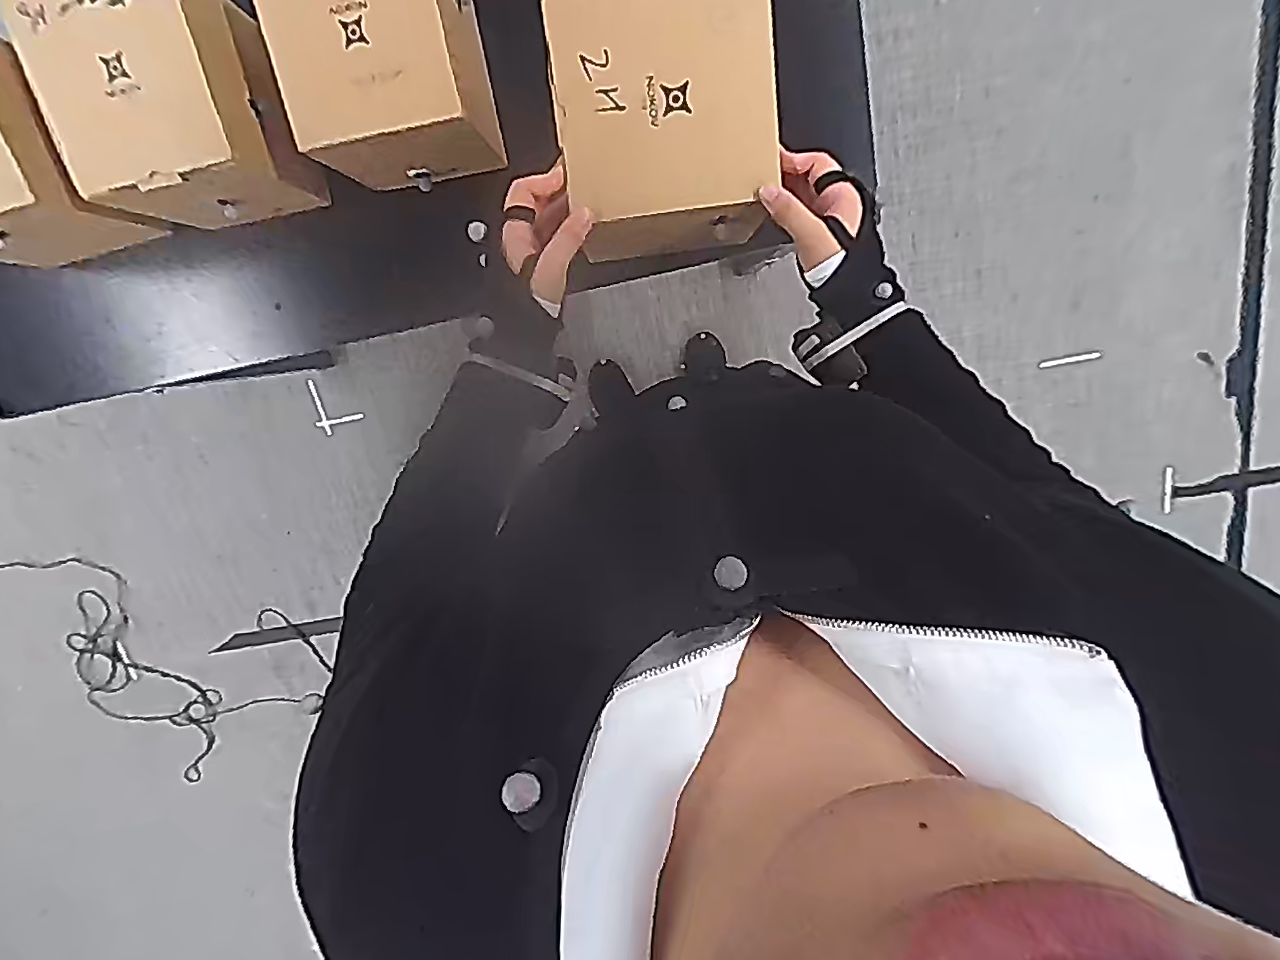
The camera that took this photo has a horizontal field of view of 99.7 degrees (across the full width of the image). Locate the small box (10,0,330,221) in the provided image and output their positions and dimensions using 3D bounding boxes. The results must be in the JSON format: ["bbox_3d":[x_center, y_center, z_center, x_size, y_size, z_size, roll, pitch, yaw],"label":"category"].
[{"bbox_3d":[-0.476,-0.394,0.585,0.168,0.176,0.179,-10,105,4],"label":"small box"}]

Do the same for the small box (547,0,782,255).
[{"bbox_3d":[0.022,-0.318,0.506,0.179,0.176,0.168,-6,103,2],"label":"small box"}]

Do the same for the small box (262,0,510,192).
[{"bbox_3d":[-0.254,-0.433,0.574,0.168,0.176,0.179,-10,106,5],"label":"small box"}]

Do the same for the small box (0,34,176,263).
[{"bbox_3d":[-0.687,-0.352,0.598,0.179,0.176,0.168,-13,105,3],"label":"small box"}]
